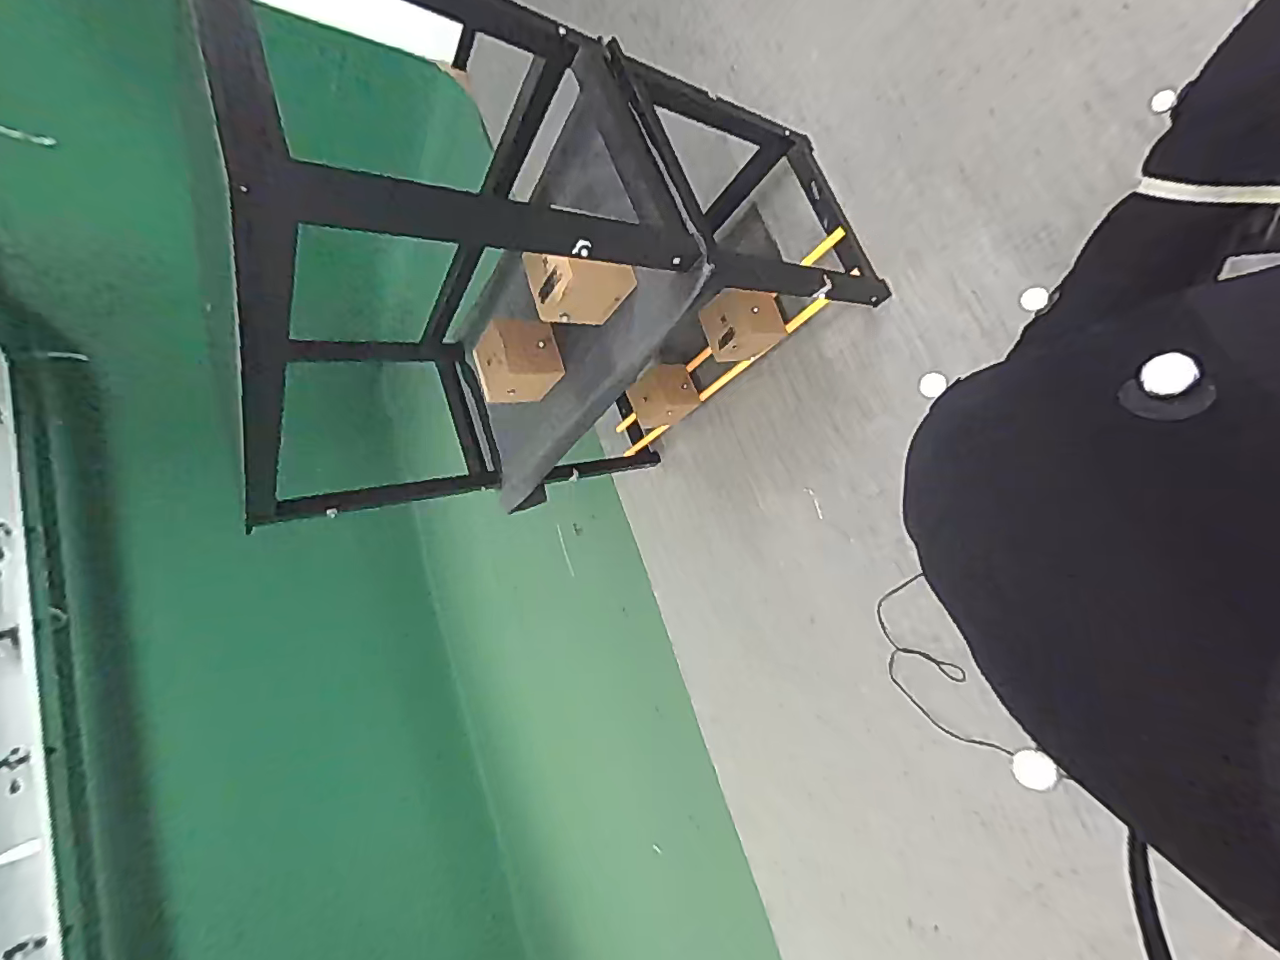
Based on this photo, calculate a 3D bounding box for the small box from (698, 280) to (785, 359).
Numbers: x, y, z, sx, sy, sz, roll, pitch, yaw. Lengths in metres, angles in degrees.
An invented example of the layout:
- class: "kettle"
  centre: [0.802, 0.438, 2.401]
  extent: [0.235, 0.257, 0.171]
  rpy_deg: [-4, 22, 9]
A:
- class: "small box"
  centre: [0.314, -0.487, 1.650]
  extent: [0.168, 0.176, 0.179]
  rpy_deg: [-30, 75, 50]

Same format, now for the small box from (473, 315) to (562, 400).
- class: "small box"
  centre: [-0.337, -0.333, 1.492]
  extent: [0.179, 0.176, 0.168]
  rpy_deg: [-31, 74, 50]
